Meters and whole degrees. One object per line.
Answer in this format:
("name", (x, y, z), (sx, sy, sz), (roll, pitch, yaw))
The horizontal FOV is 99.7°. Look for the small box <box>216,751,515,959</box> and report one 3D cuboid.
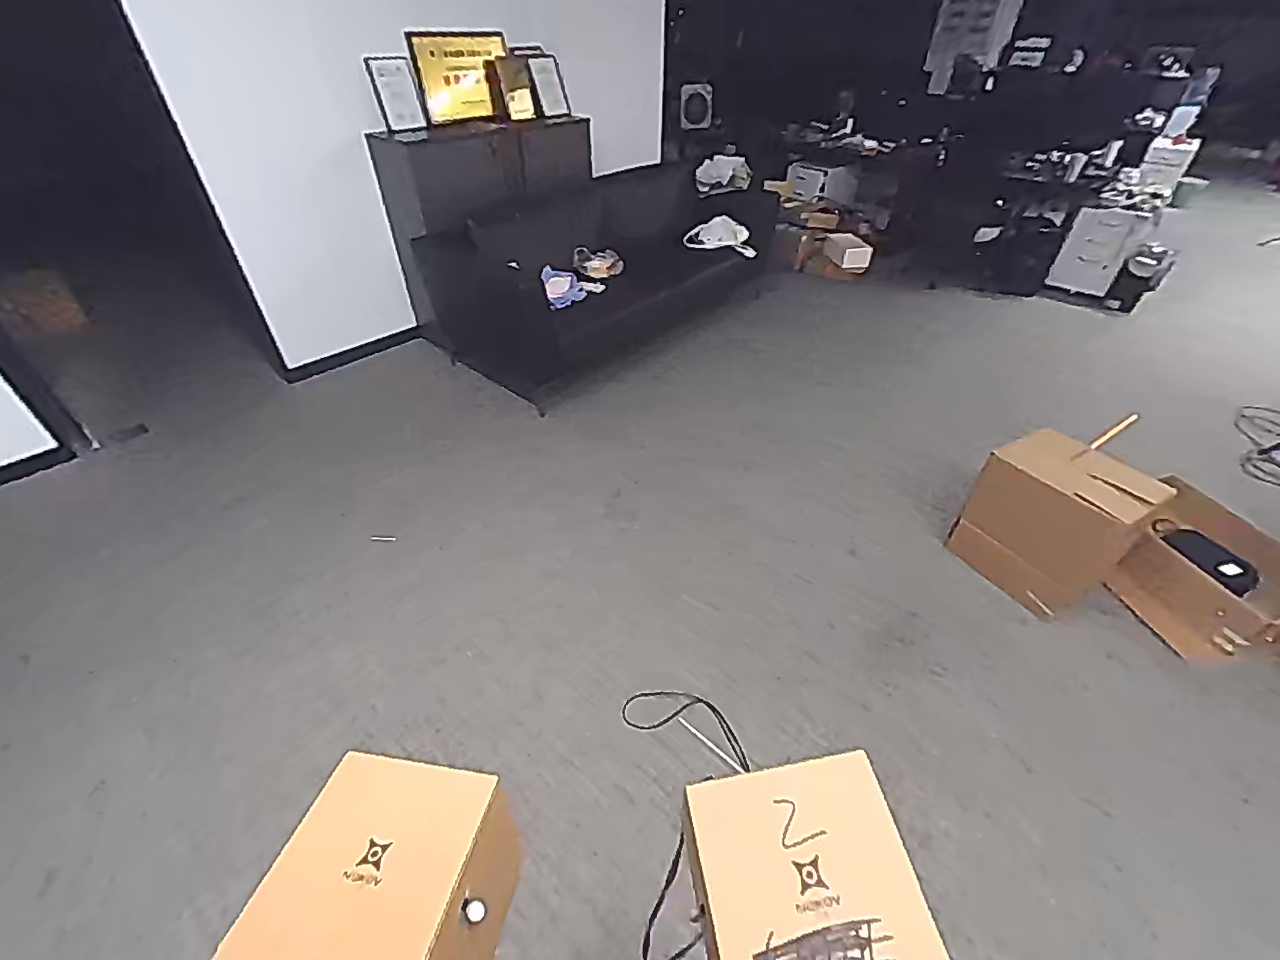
("small box", (-0.228, 0.395, 0.508), (0.168, 0.176, 0.179), (5, 33, 9))
